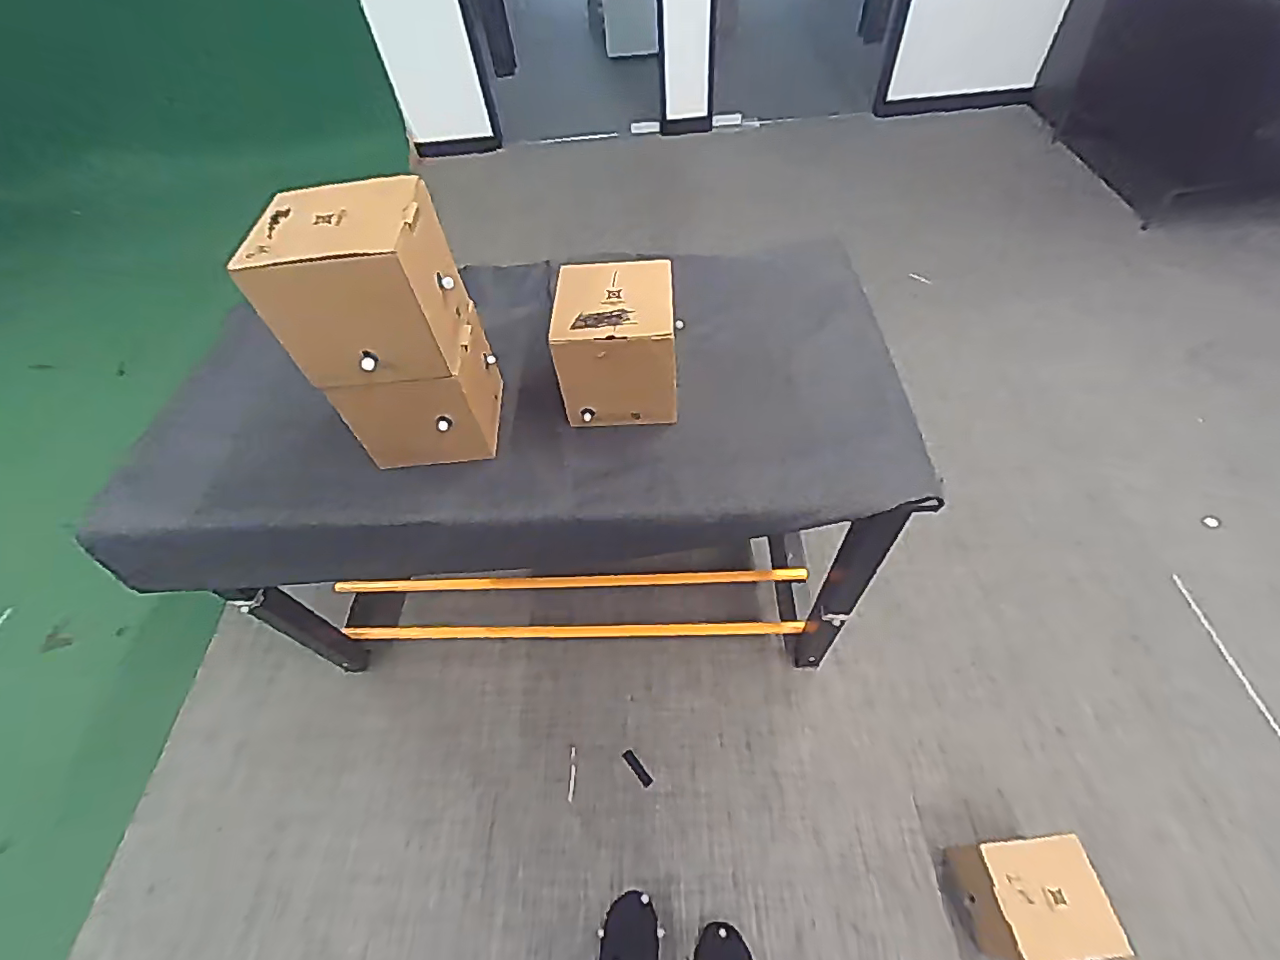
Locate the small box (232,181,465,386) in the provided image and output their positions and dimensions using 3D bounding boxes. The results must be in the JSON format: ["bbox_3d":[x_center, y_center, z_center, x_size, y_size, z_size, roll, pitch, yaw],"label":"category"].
[{"bbox_3d":[-0.328,-0.233,0.657,0.179,0.176,0.168,-5,53,1],"label":"small box"}]

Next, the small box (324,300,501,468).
[{"bbox_3d":[-0.312,-0.135,0.789,0.179,0.176,0.168,-6,52,1],"label":"small box"}]

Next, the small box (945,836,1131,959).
[{"bbox_3d":[0.686,0.741,0.960,0.179,0.176,0.168,-7,53,0],"label":"small box"}]

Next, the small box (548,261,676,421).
[{"bbox_3d":[-0.031,-0.201,0.811,0.168,0.176,0.179,-1,53,4],"label":"small box"}]
